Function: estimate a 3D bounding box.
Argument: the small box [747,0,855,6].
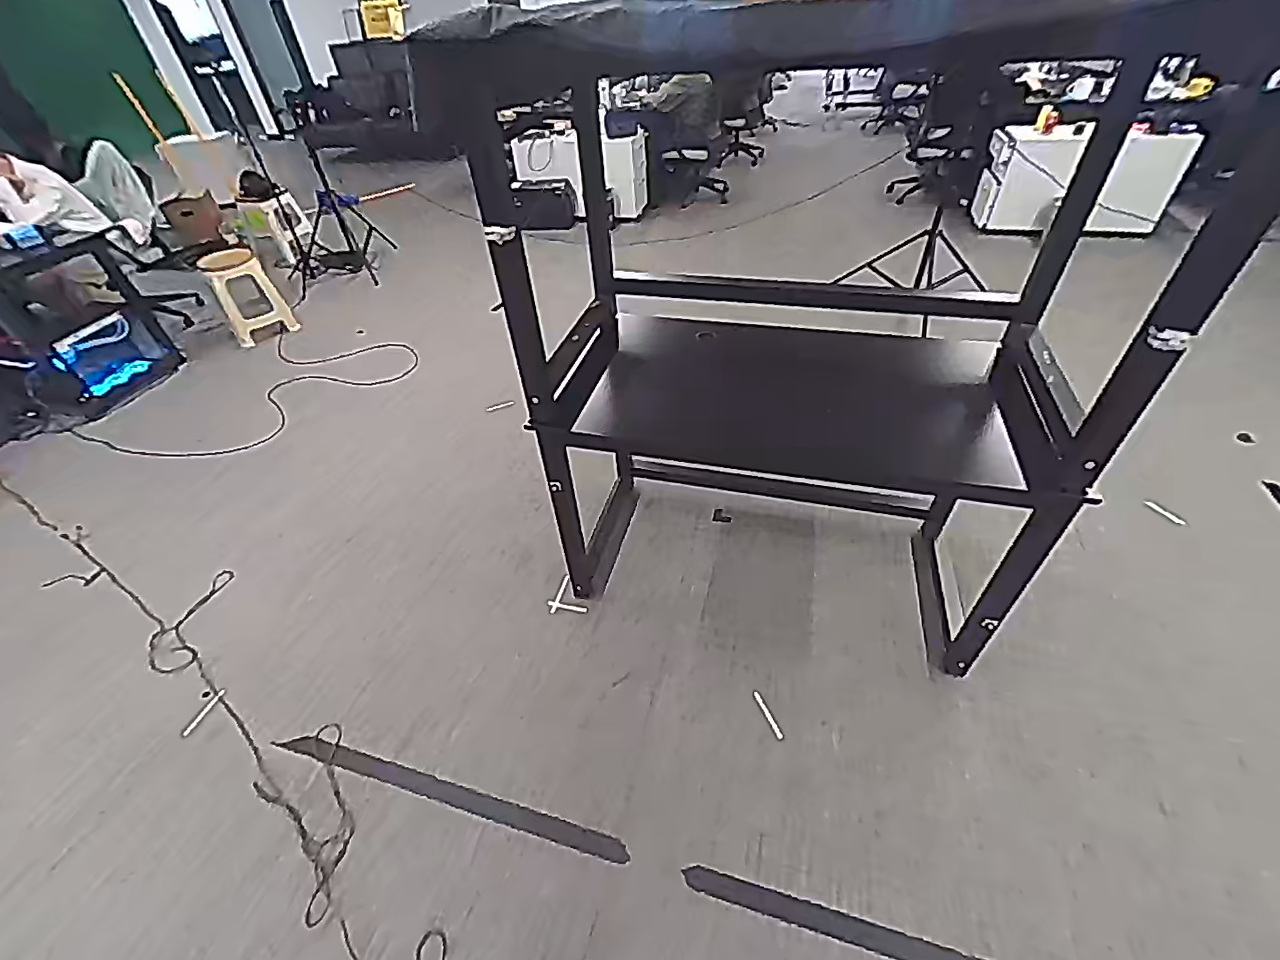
[{"bbox_3d":[0.239,-0.750,0.723,0.168,0.176,0.179,9,42,15],"label":"small box"}]
